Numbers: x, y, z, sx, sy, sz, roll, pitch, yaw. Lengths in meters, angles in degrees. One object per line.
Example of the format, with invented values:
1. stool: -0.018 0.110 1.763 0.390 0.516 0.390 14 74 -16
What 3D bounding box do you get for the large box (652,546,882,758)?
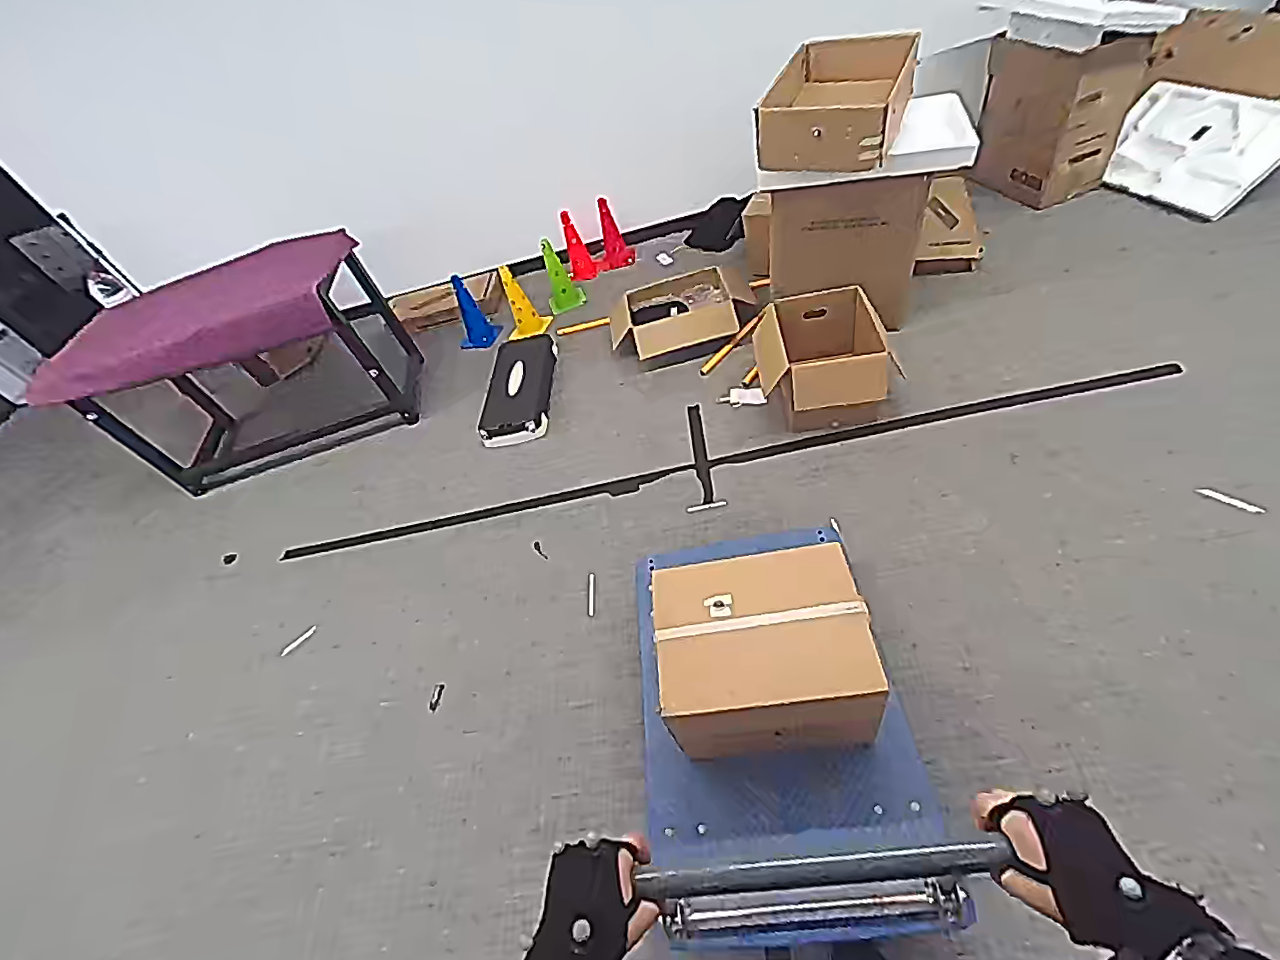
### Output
1. large box: 0.263 0.385 1.179 0.408 0.320 0.320 -11 47 9
